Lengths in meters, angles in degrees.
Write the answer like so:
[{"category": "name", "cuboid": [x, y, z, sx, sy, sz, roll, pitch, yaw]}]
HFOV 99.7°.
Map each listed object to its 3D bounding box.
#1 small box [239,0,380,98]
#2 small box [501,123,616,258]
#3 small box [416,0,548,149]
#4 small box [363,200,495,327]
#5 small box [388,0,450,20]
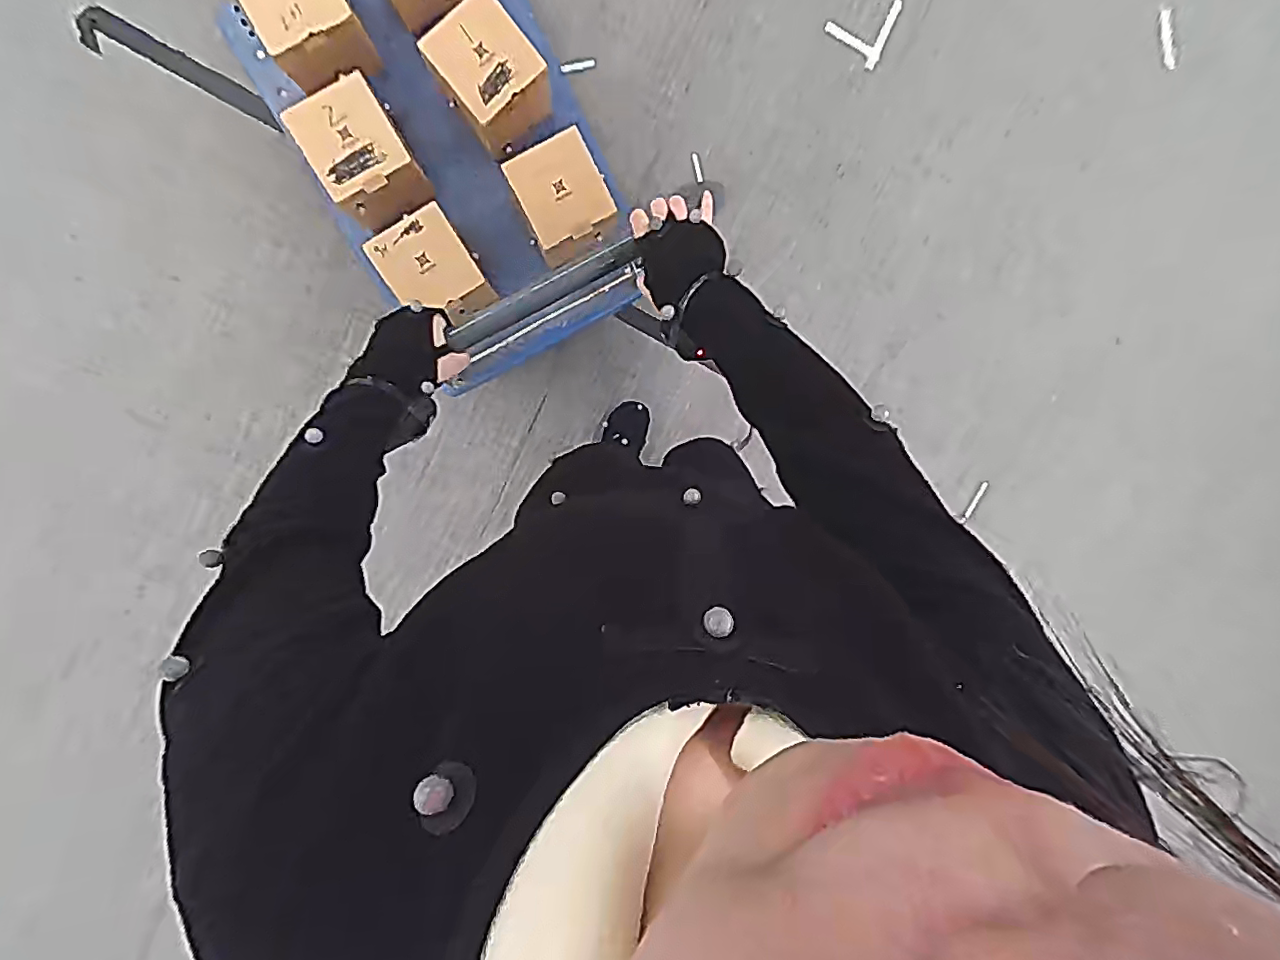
[{"category": "small box", "cuboid": [-0.627, -0.873, 1.013, 0.168, 0.176, 0.179, -28, 102, -1]}, {"category": "small box", "cuboid": [-0.163, -0.581, 1.120, 0.168, 0.176, 0.179, -29, 101, -2]}, {"category": "small box", "cuboid": [-0.298, -0.795, 1.066, 0.168, 0.176, 0.179, -41, 101, 1]}, {"category": "small box", "cuboid": [-0.420, -0.430, 1.113, 0.168, 0.176, 0.179, -33, 102, -1]}, {"category": "small box", "cuboid": [-0.443, -1.019, 1.010, 0.168, 0.176, 0.179, -32, 102, 0]}]
